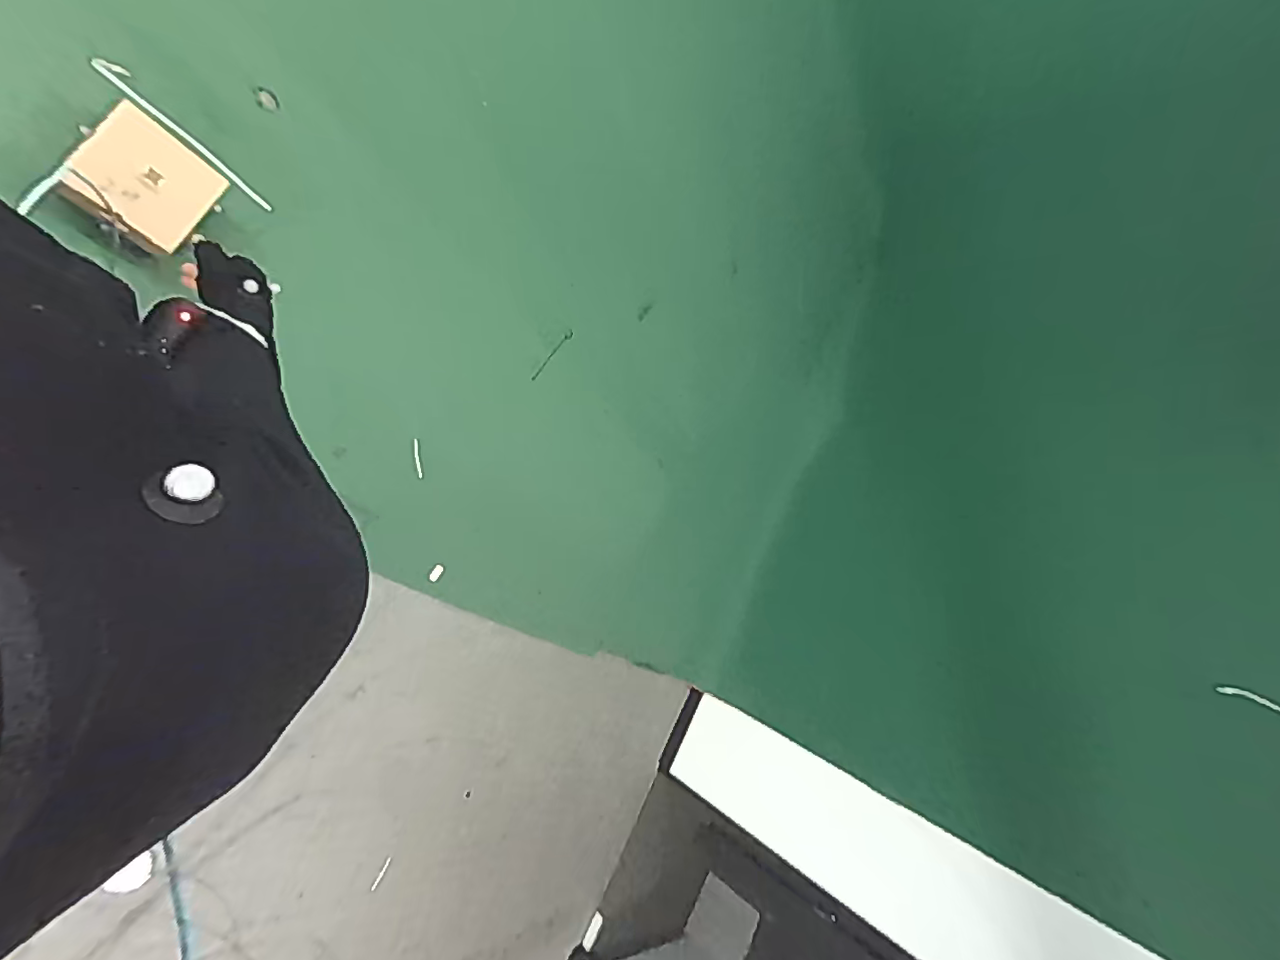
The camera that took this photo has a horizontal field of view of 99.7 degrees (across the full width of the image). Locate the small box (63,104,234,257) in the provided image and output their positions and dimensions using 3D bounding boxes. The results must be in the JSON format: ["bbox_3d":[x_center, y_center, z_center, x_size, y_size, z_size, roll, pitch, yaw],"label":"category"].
[{"bbox_3d":[-0.895,-0.533,0.983,0.168,0.176,0.179,42,71,-46],"label":"small box"}]
